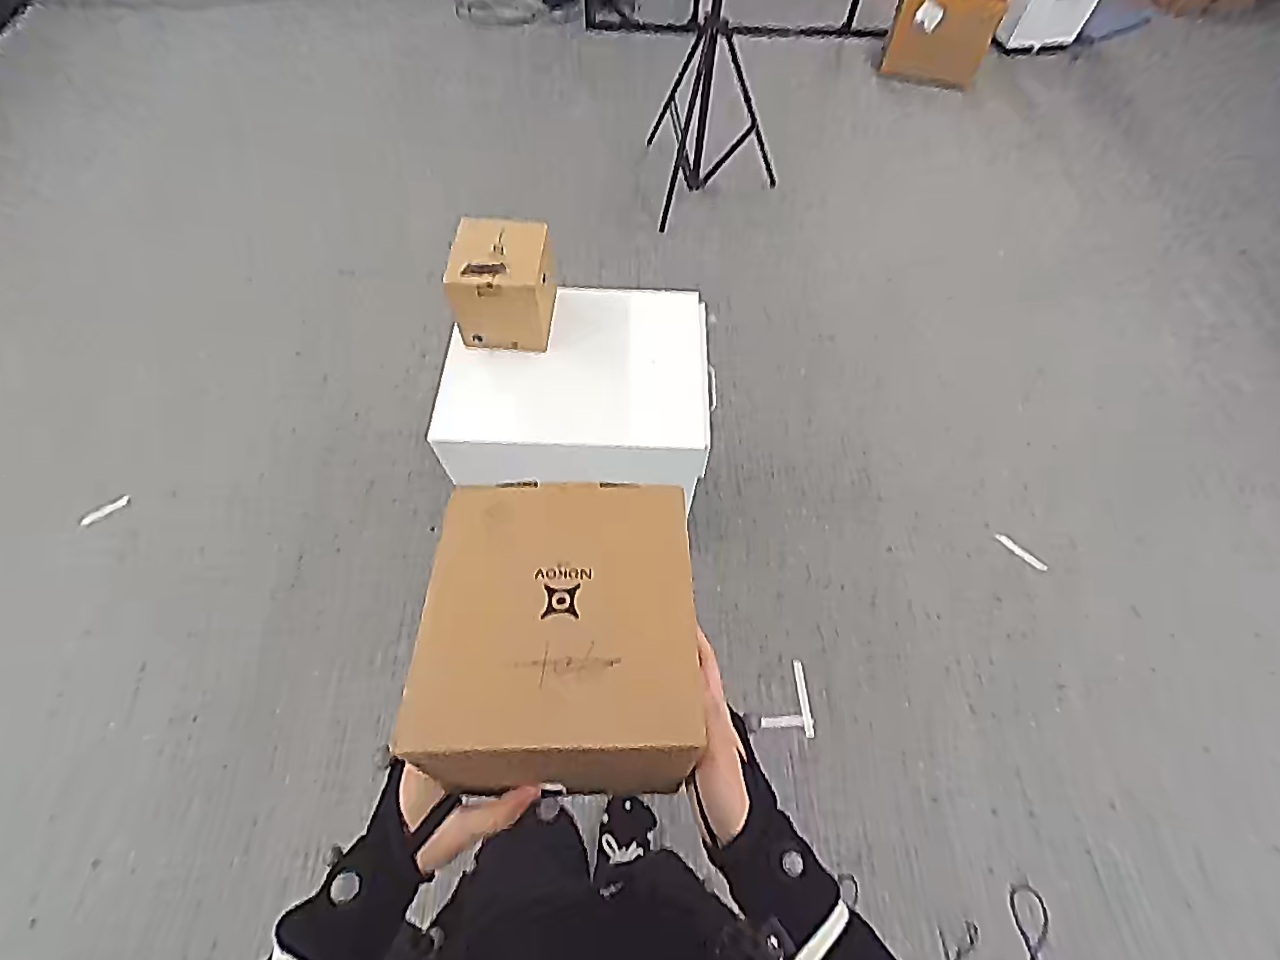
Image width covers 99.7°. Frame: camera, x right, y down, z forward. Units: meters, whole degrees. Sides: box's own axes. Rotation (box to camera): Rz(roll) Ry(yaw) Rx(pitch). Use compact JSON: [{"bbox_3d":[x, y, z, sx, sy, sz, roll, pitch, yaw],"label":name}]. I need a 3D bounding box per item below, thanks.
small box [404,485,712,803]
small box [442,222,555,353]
[{"bbox_3d":[-0.048,0.122,0.397,0.168,0.176,0.179,-1,52,-3],"label":"small box"},{"bbox_3d":[-0.262,-0.367,1.048,0.168,0.176,0.179,3,61,-1],"label":"small box"}]
